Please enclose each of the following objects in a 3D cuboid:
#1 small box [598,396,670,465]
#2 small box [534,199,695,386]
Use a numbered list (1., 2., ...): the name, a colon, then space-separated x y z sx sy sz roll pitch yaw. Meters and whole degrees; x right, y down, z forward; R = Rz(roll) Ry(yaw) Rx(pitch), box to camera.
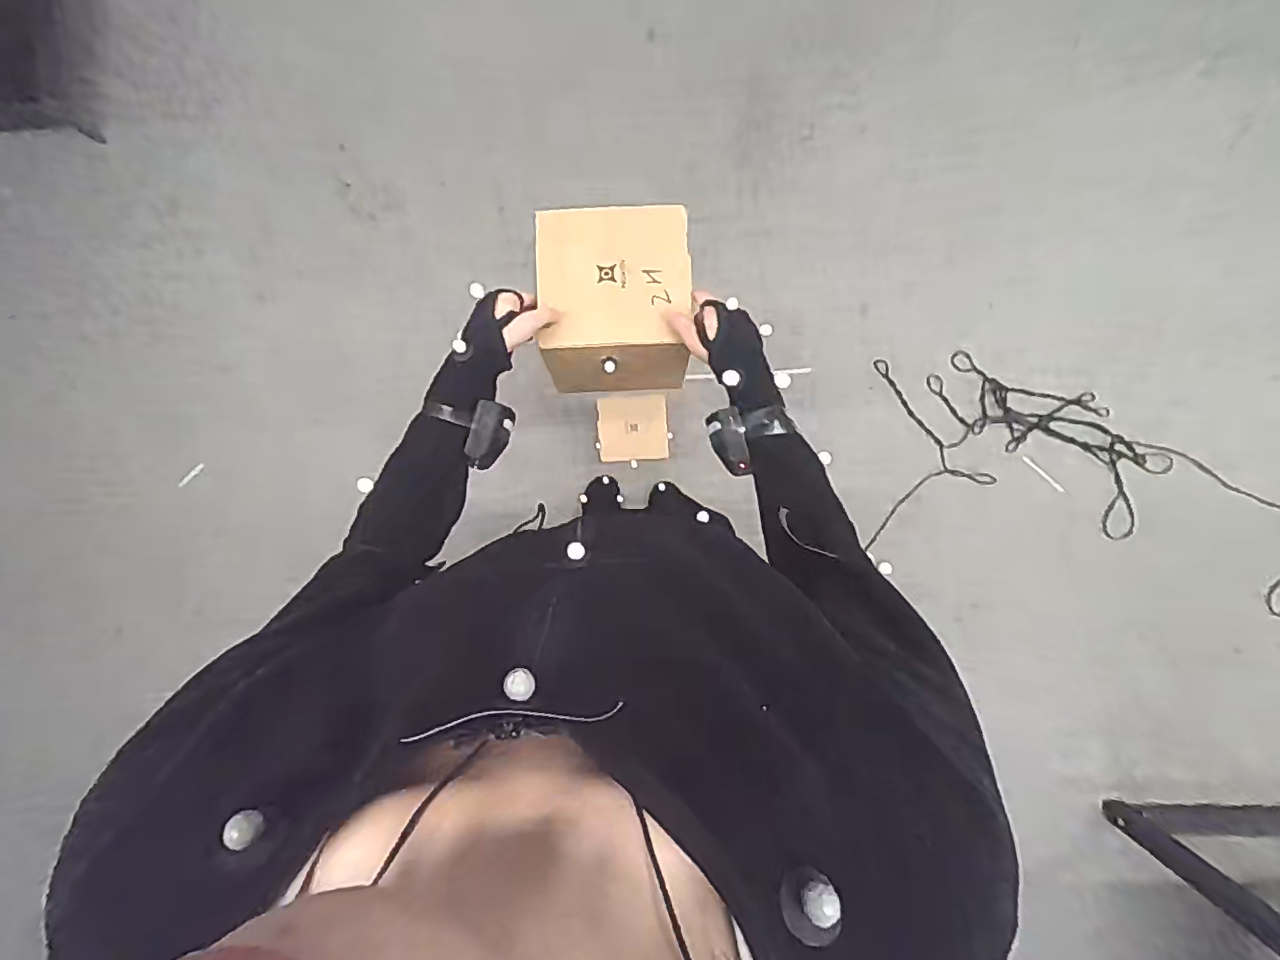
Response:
1. small box: -0.011 -0.127 1.435 0.179 0.176 0.168 -3 91 2
2. small box: -0.029 -0.219 0.671 0.179 0.176 0.168 -2 83 -1
